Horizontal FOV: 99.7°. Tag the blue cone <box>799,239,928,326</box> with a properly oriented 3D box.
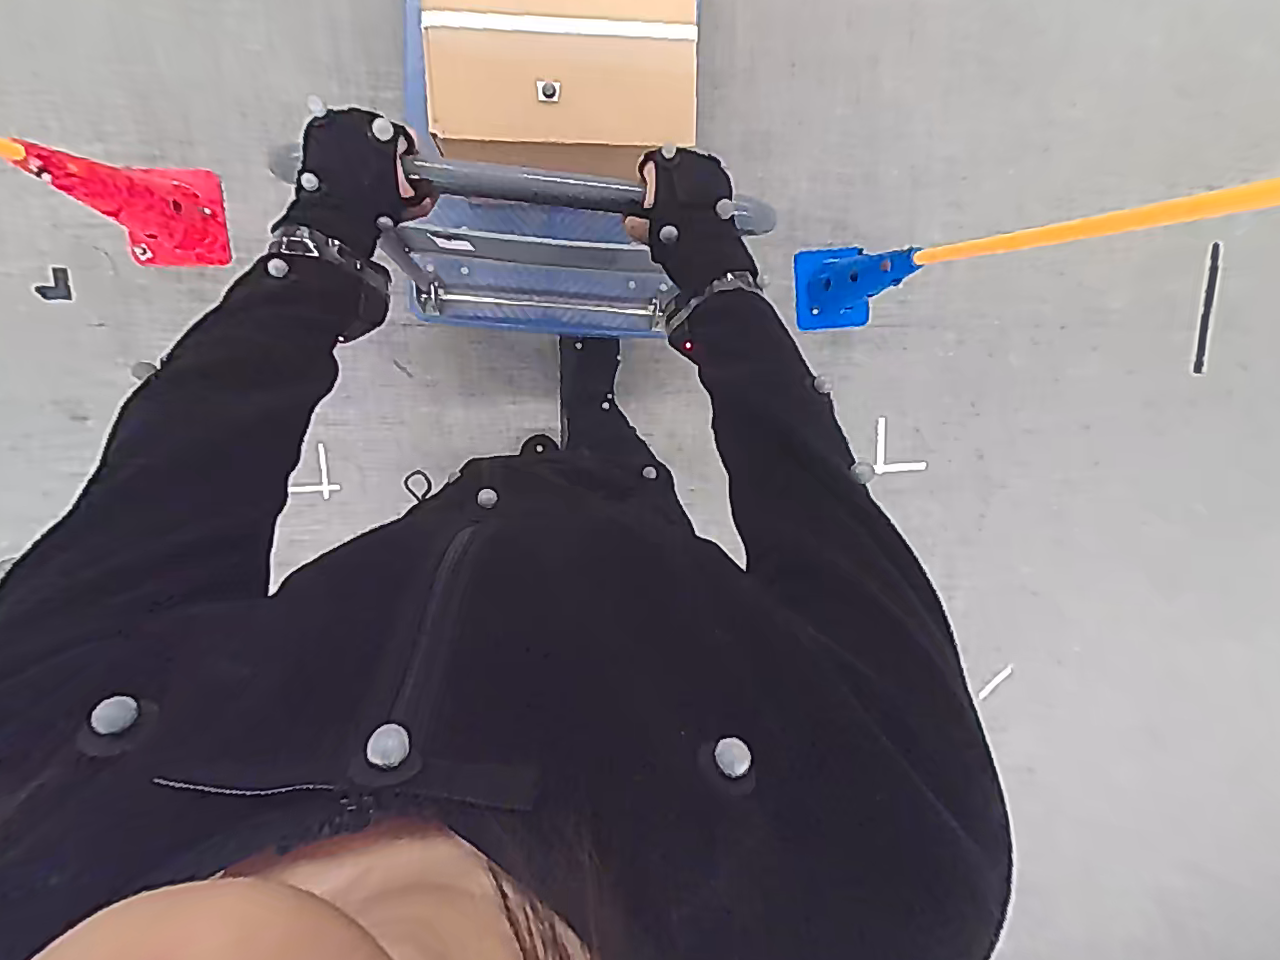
[{"bbox_3d":[0.531,-0.478,1.251,0.193,0.380,0.192,-5,100,-7],"label":"blue cone"}]
